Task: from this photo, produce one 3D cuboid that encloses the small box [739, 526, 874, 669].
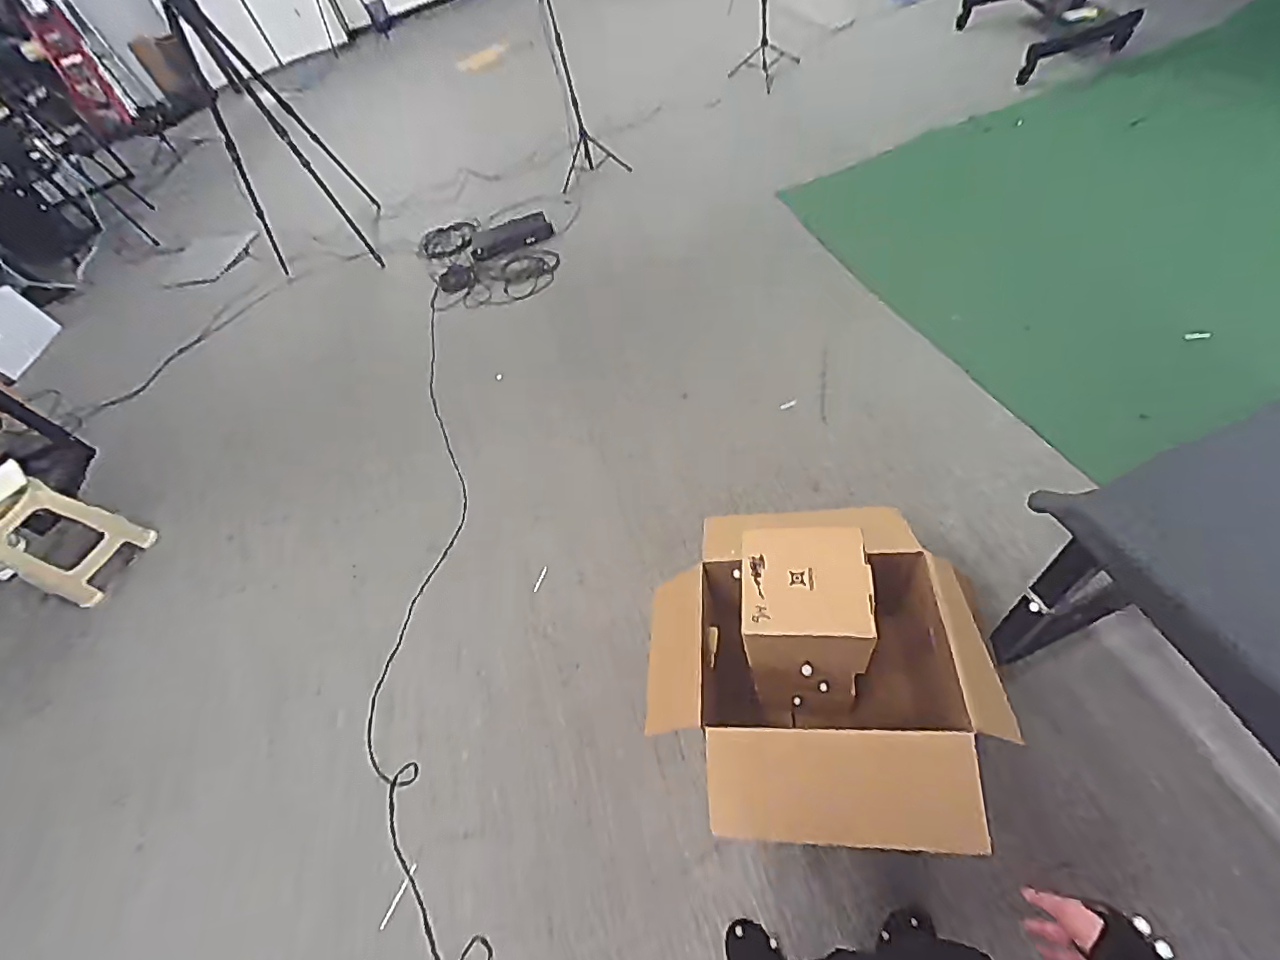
[{"bbox_3d":[0.247,0.182,0.827,0.179,0.176,0.168,-1,55,14],"label":"small box"}]
